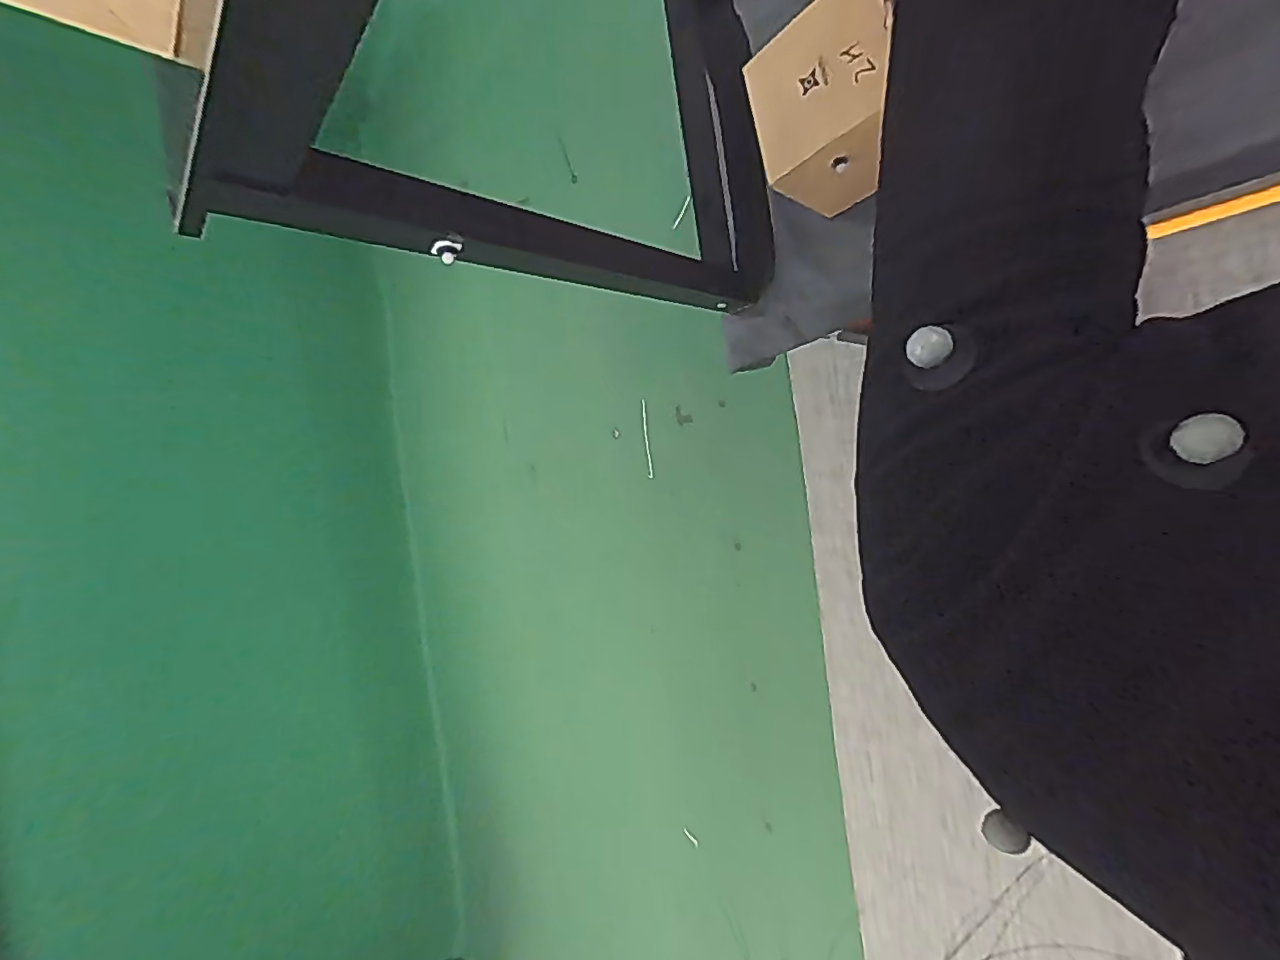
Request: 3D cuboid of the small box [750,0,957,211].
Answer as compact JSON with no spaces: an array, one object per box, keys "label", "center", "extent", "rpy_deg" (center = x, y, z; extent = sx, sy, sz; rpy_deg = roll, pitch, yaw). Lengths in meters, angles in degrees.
[{"label":"small box","center":[0.272,-0.479,0.693],"extent":[0.179,0.176,0.168],"rpy_deg":[-15,85,46]}]
